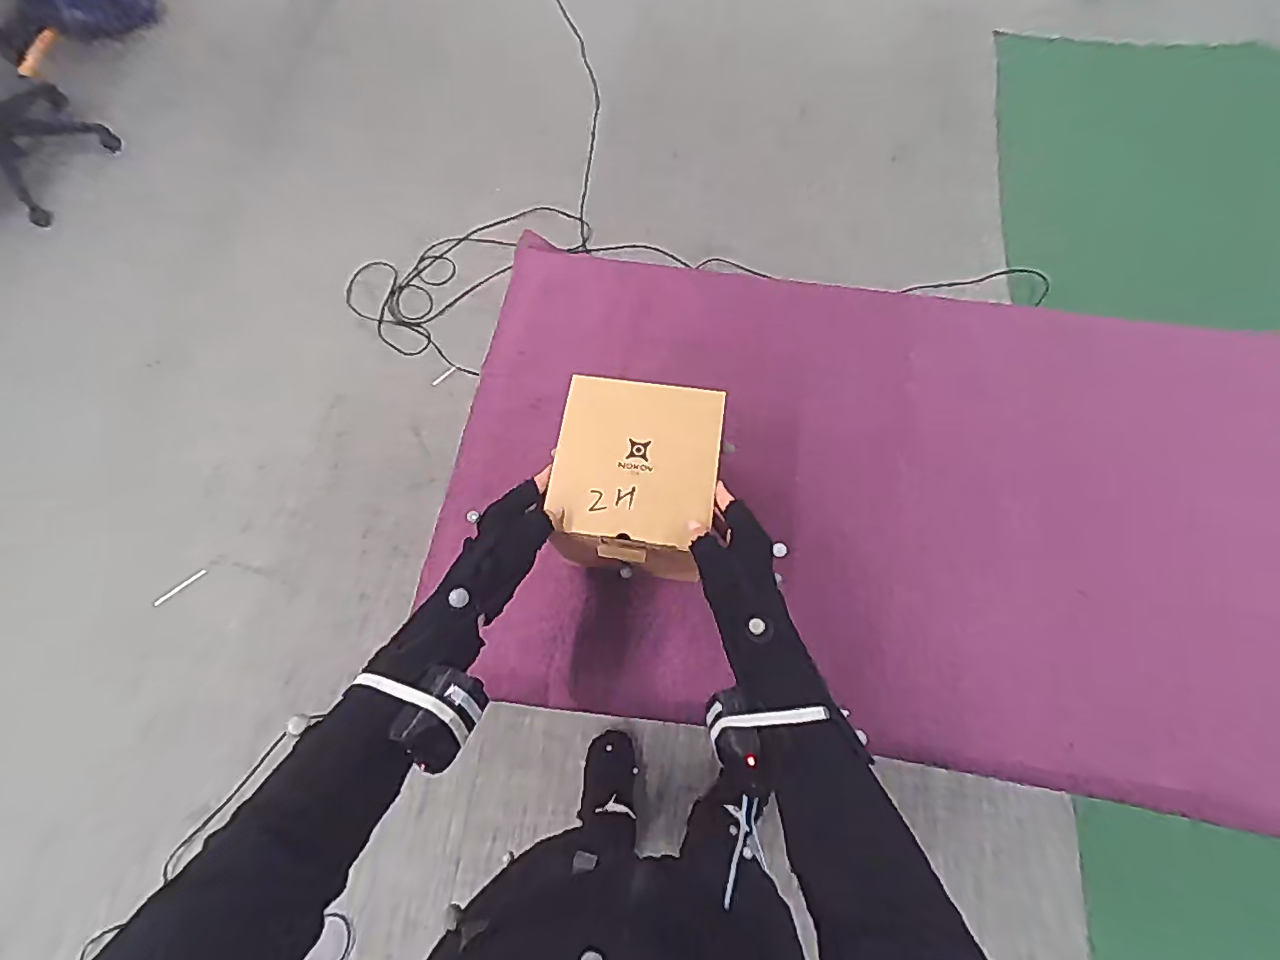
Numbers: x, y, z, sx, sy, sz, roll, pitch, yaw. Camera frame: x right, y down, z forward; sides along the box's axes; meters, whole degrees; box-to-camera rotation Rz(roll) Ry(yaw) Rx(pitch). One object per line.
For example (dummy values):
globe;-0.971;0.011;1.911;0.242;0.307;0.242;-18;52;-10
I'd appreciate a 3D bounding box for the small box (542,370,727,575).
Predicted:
small box;-0.001;0.000;0.623;0.168;0.176;0.179;8;71;5
